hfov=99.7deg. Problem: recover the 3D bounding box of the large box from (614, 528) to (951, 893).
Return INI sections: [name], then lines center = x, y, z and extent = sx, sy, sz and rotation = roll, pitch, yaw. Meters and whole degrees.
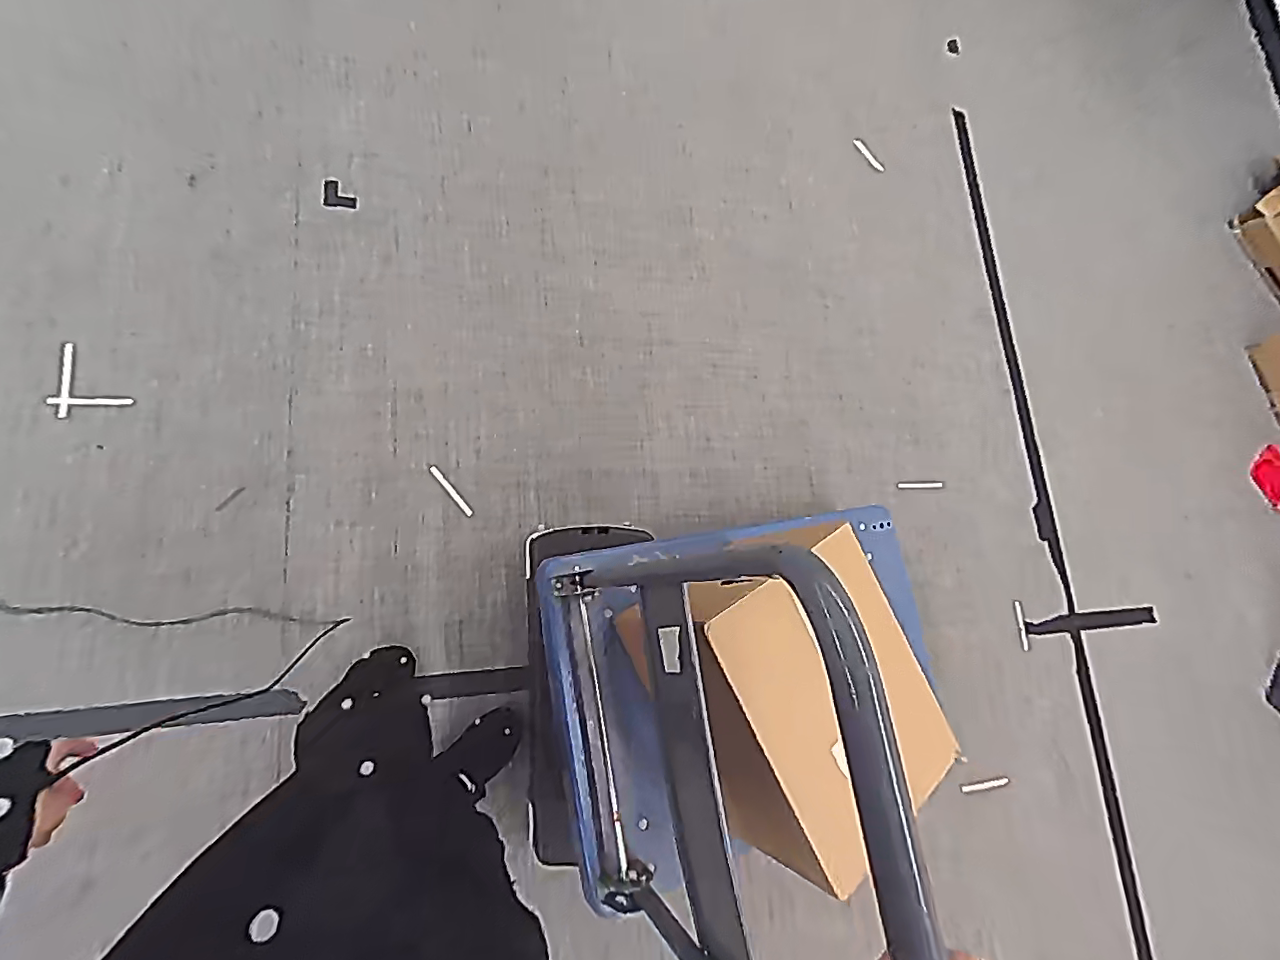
[large box]
center = 0.219, 0.337, 0.905
extent = 0.320, 0.320, 0.408
rotation = -27, 91, -28
